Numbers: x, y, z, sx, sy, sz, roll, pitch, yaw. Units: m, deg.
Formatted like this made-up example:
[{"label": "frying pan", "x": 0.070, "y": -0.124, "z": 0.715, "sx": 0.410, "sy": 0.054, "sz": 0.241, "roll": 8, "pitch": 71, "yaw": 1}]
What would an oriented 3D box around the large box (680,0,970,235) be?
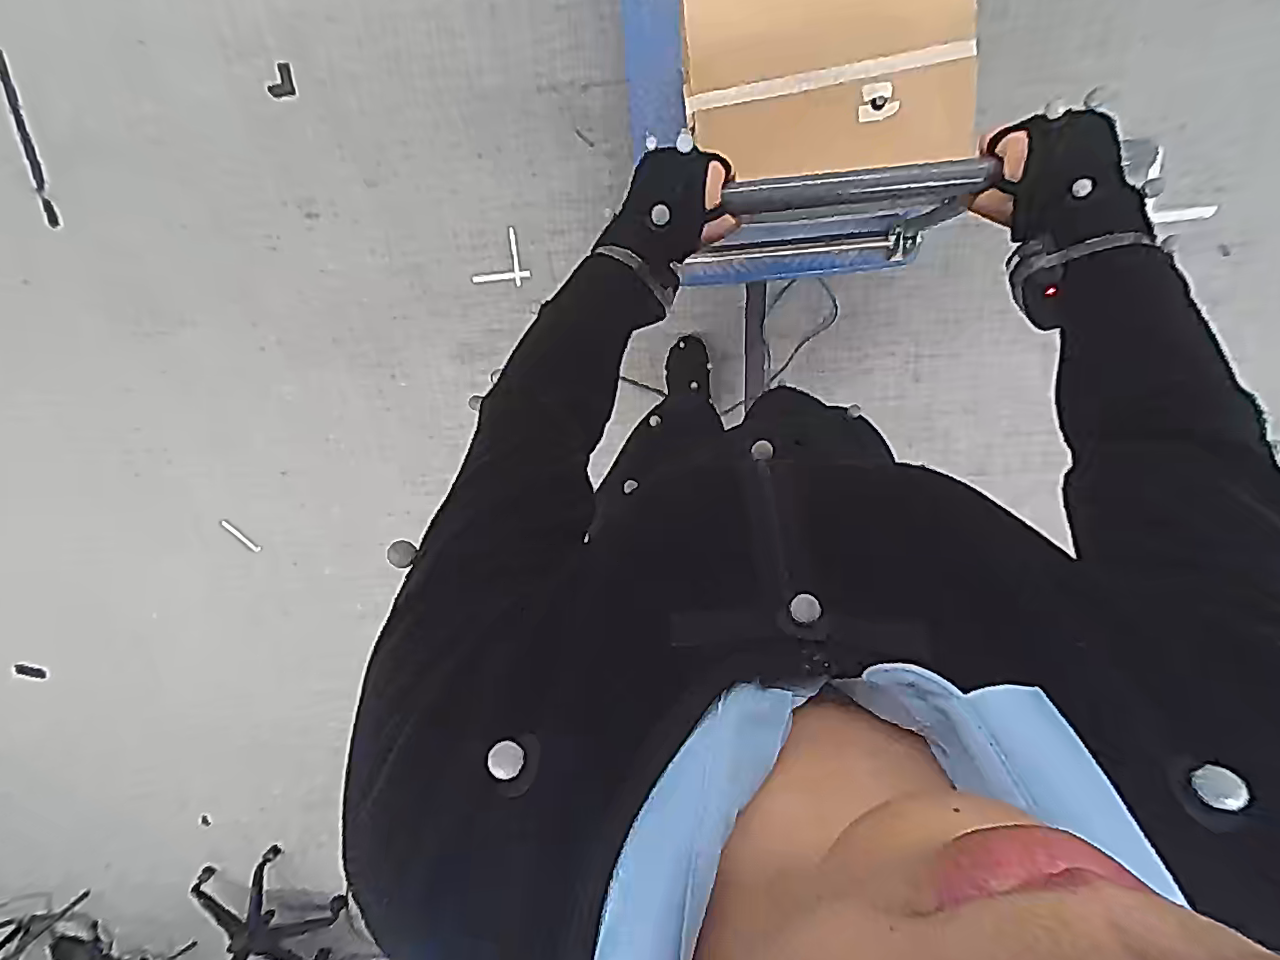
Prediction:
[{"label": "large box", "x": 0.290, "y": -0.645, "z": 0.946, "sx": 0.408, "sy": 0.320, "sz": 0.320, "roll": -7, "pitch": 108, "yaw": 6}]
